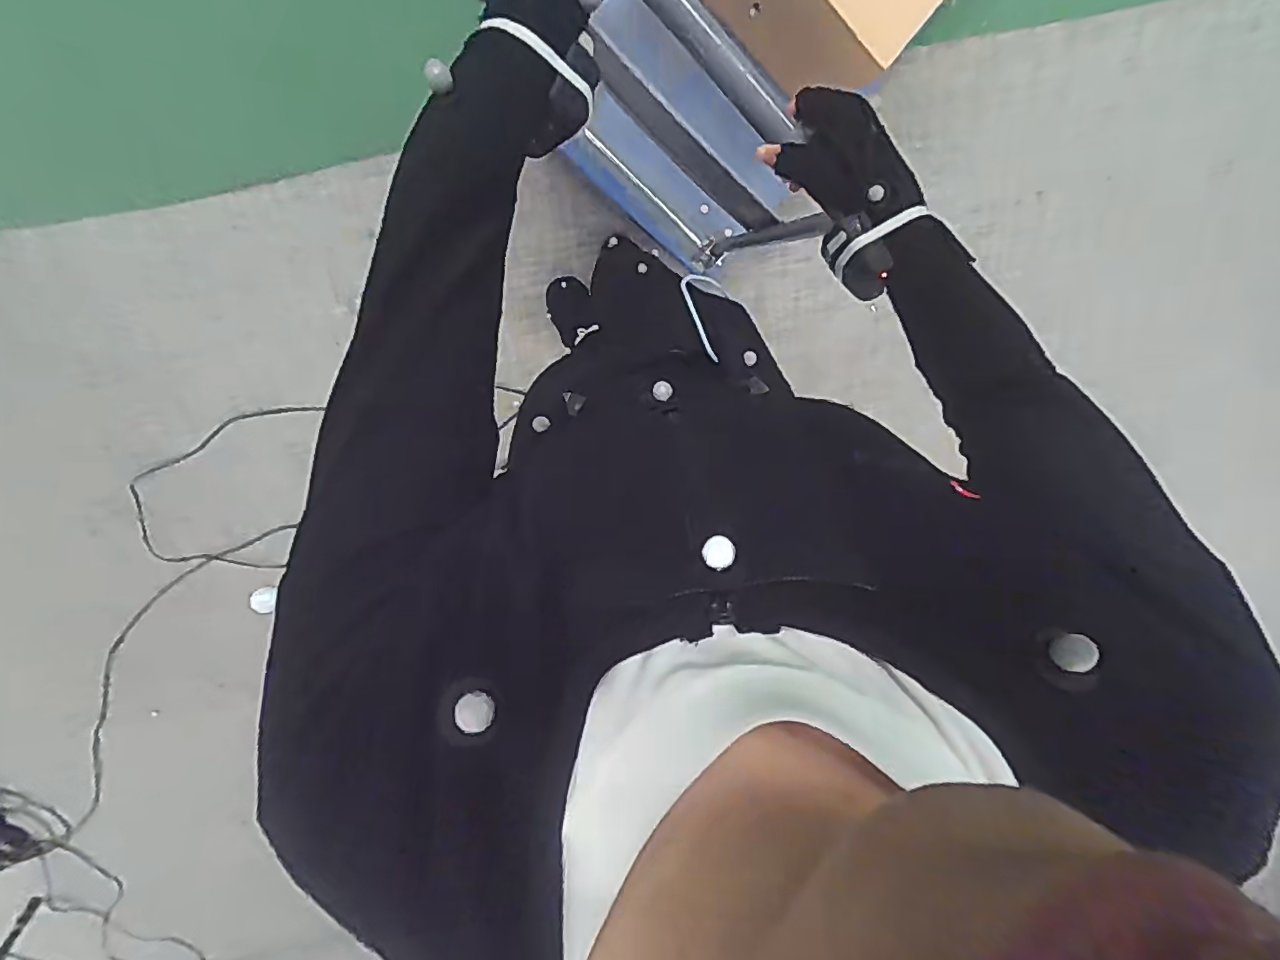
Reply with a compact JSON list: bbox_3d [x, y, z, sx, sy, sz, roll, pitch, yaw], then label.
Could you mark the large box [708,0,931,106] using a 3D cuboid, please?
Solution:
[{"bbox_3d":[0.285,-0.893,0.837,0.408,0.320,0.320,35,105,-18],"label":"large box"}]
